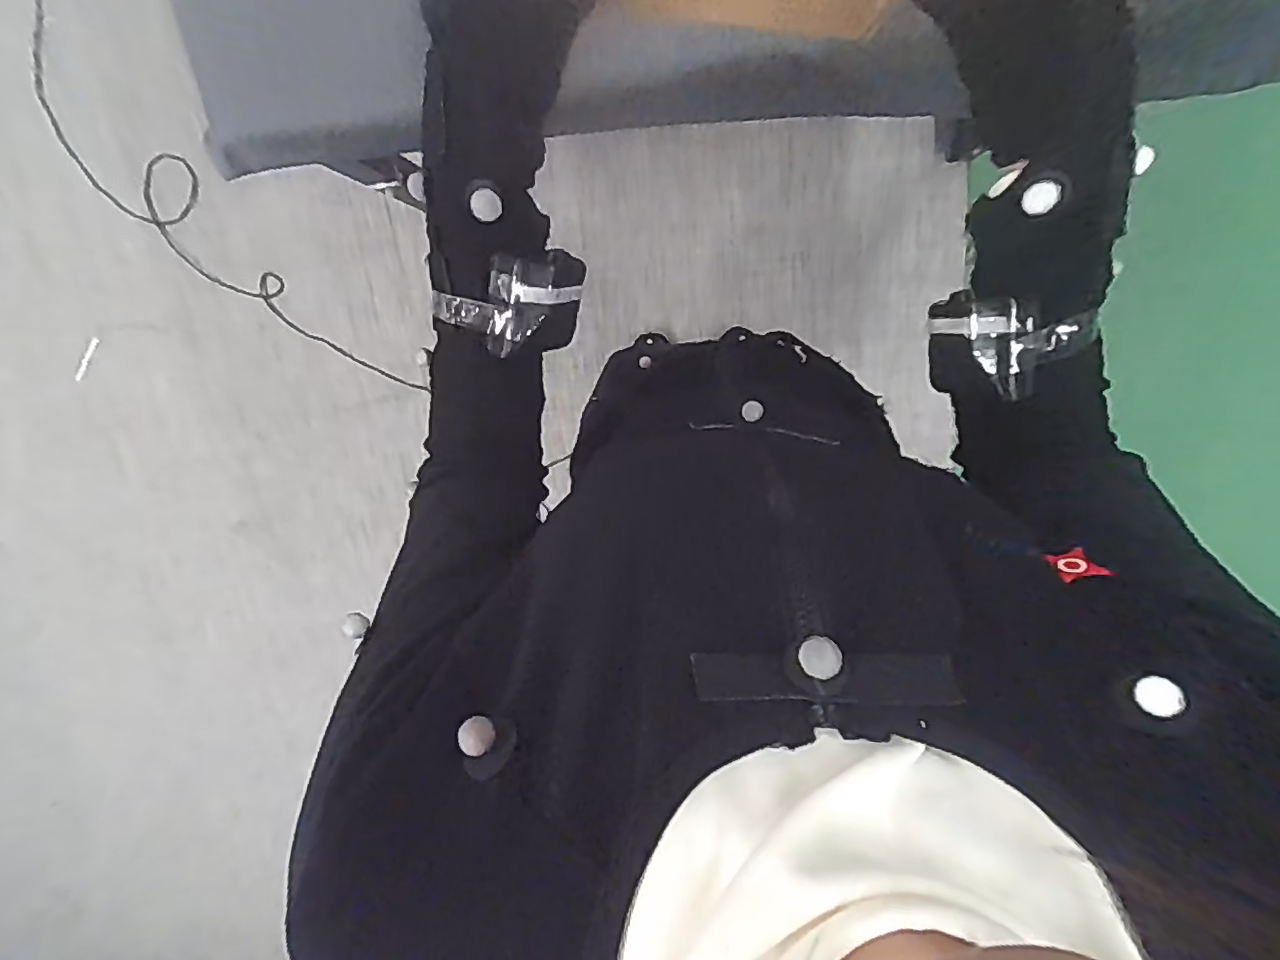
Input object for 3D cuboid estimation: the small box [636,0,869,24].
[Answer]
[{"bbox_3d":[0.052,-0.336,0.219,0.179,0.176,0.168,2,93,-5],"label":"small box"}]
